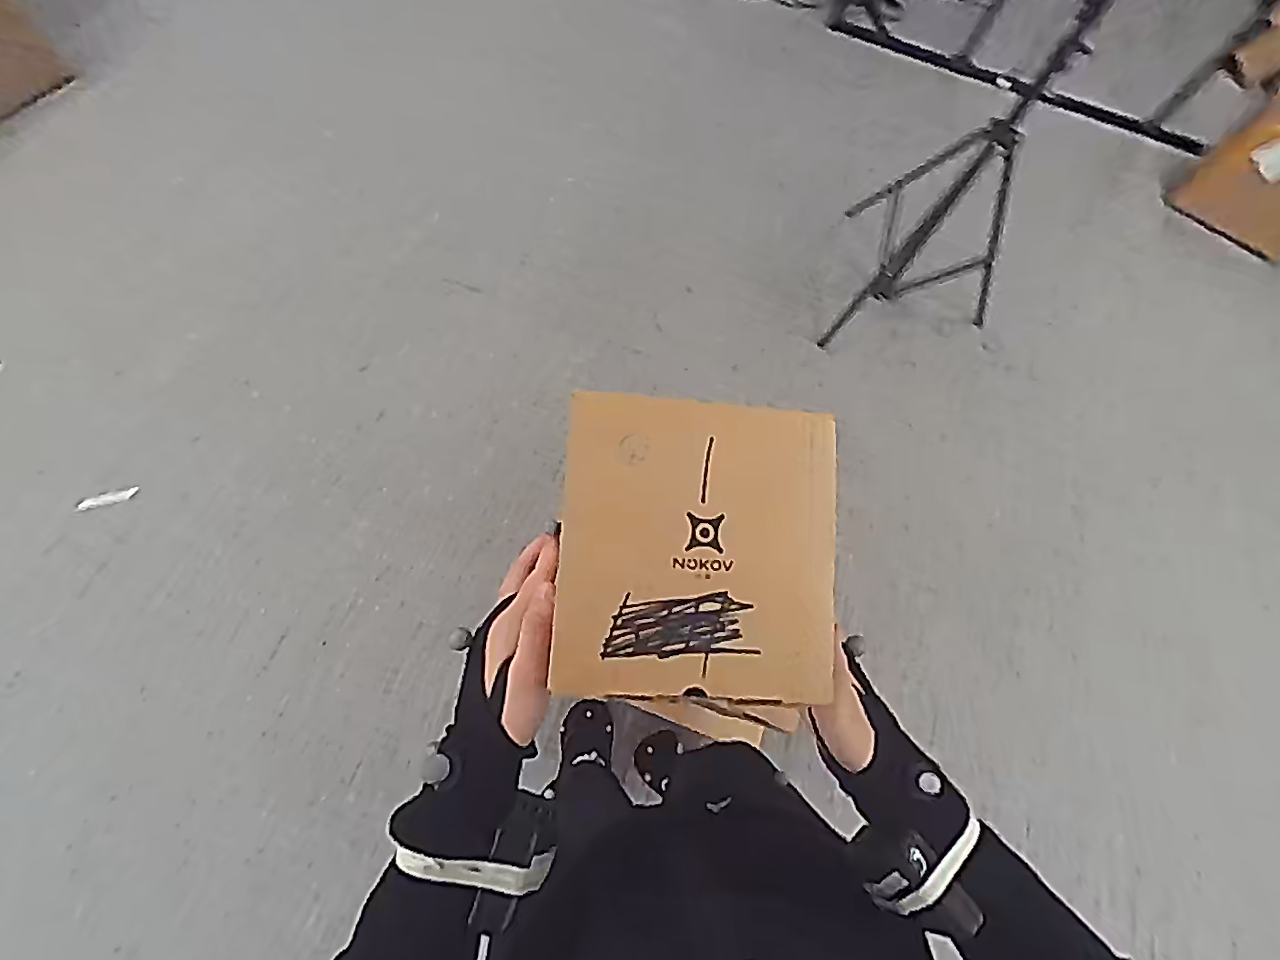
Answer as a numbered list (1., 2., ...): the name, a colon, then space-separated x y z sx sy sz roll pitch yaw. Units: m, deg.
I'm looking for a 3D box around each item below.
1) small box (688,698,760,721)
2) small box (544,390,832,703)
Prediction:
1. small box: 0.106 0.255 0.851 0.168 0.176 0.179 21 71 3
2. small box: 0.023 0.048 0.395 0.168 0.176 0.179 4 82 -7
